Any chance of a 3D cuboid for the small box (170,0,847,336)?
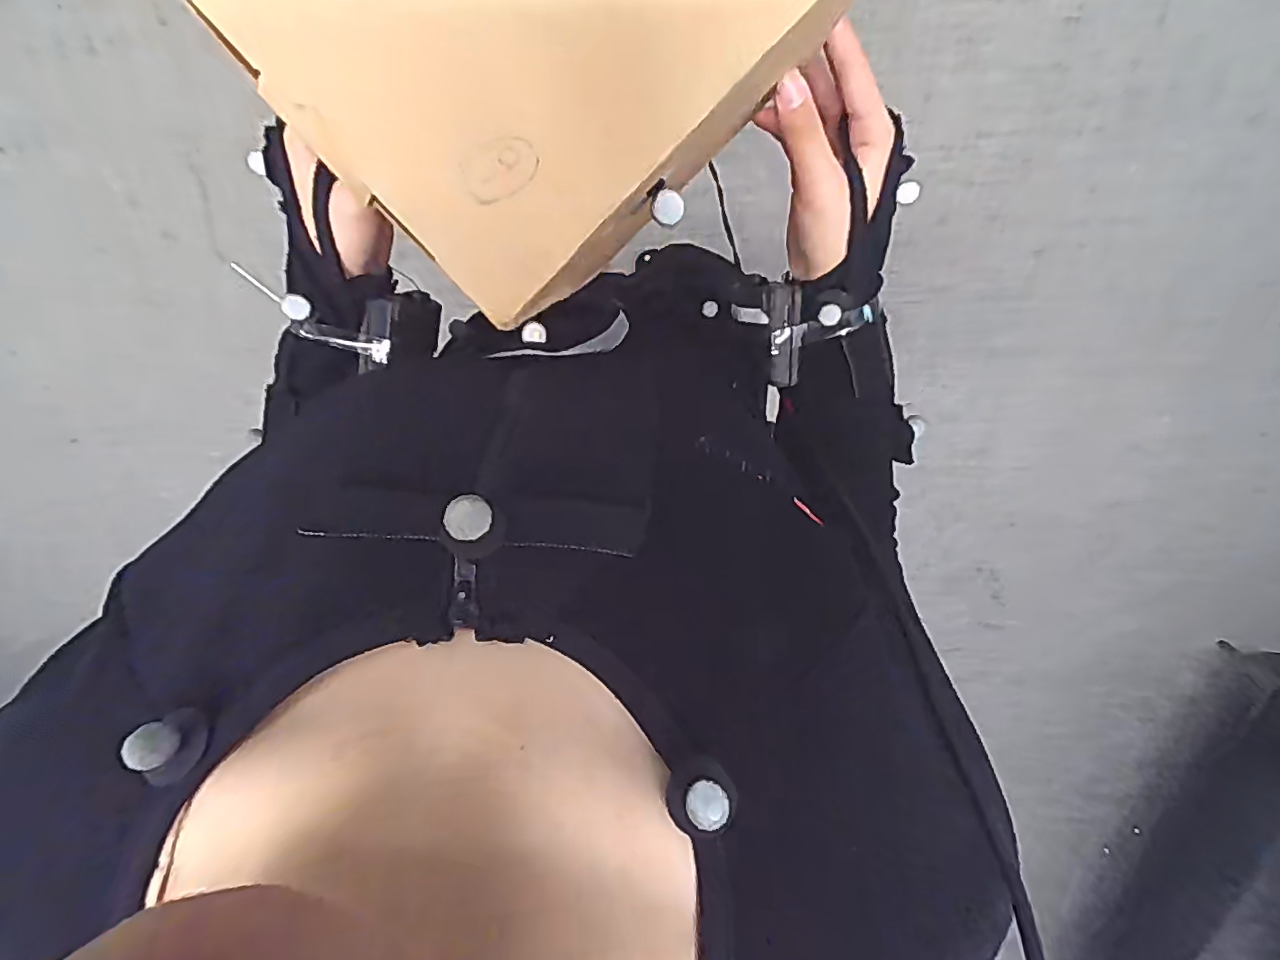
[{"bbox_3d":[-0.035,-0.189,0.223,0.179,0.176,0.168,-38,106,19],"label":"small box"}]
